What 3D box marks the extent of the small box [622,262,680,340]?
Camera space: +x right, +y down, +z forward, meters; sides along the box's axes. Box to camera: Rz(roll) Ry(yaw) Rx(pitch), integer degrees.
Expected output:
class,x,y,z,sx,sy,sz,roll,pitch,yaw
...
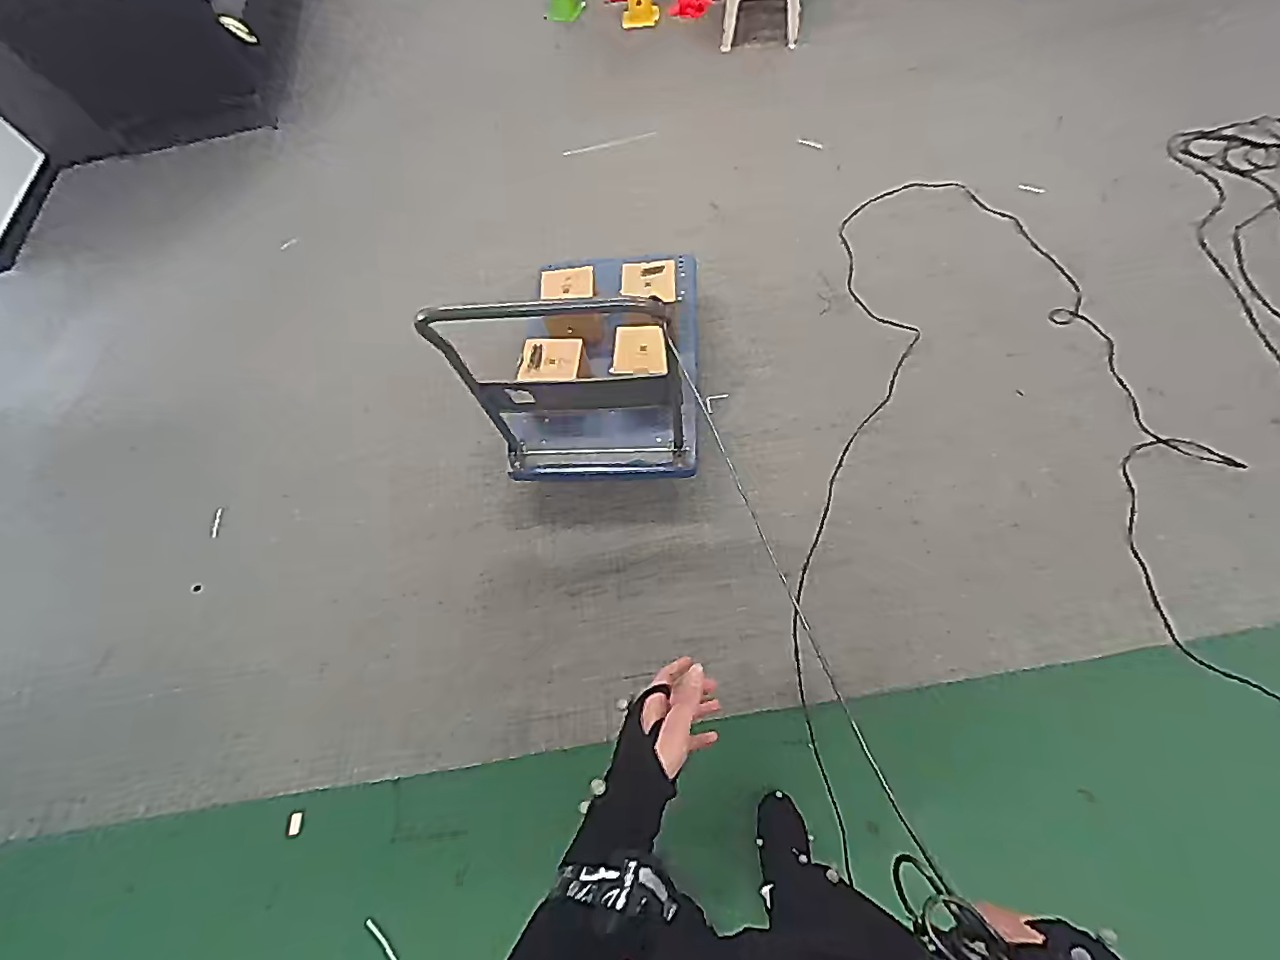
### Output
class,x,y,z,sx,sy,sz,roll,pitch,yaw
small box,0.039,-0.561,1.720,0.168,0.176,0.179,-2,65,7

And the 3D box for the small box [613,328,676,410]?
class,x,y,z,sx,sy,sz,roll,pitch,yaw
small box,0.020,-0.329,1.612,0.168,0.176,0.179,1,65,8

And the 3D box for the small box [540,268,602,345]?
class,x,y,z,sx,sy,sz,roll,pitch,yaw
small box,-0.216,-0.553,1.750,0.168,0.176,0.179,-4,64,5
